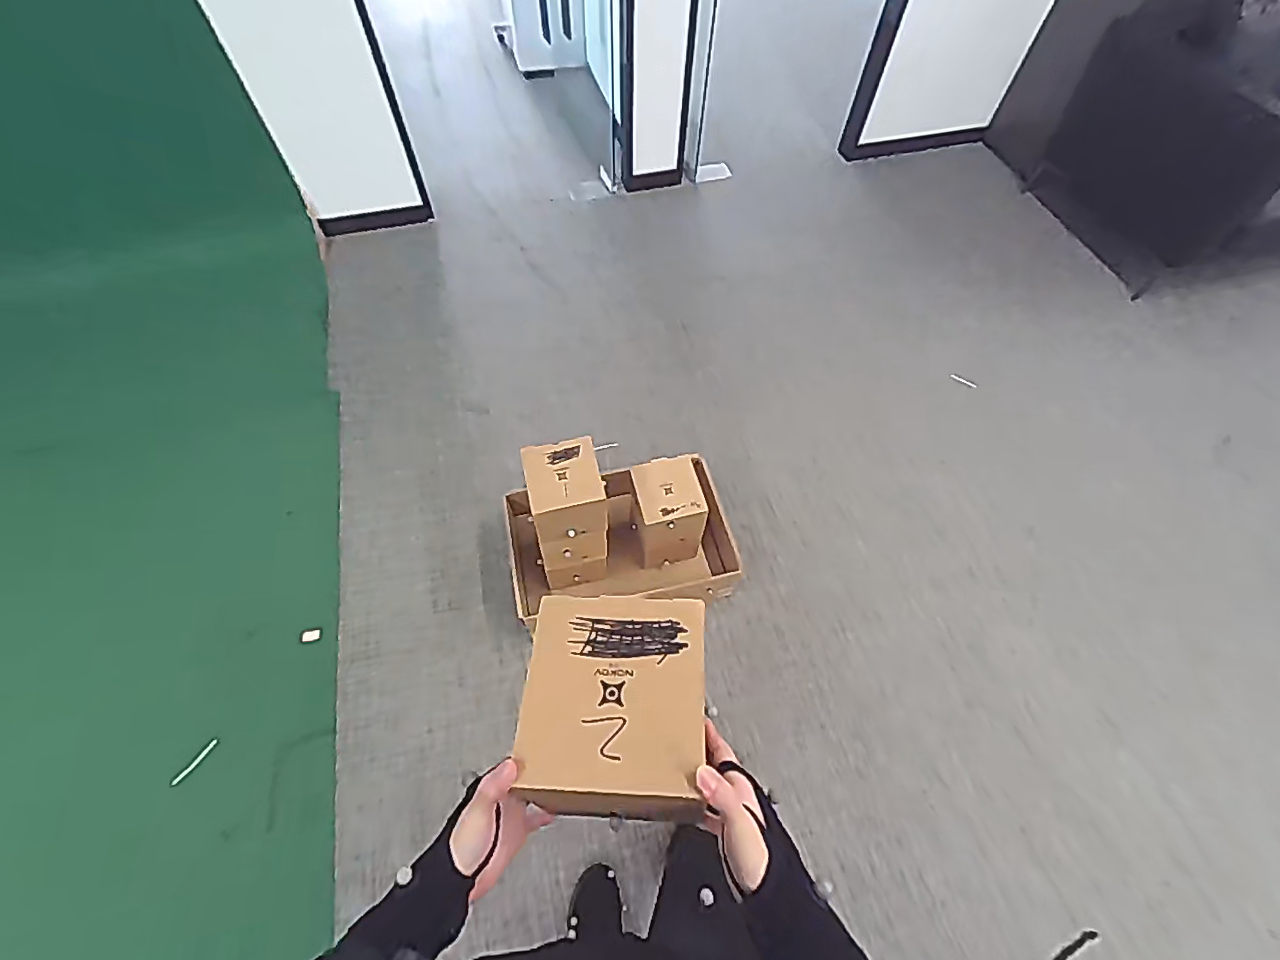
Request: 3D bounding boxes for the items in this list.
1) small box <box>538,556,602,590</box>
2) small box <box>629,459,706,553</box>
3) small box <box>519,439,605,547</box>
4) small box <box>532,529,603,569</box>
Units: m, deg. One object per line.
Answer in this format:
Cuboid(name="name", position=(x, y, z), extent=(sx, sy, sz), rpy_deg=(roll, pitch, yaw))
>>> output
Cuboid(name="small box", position=(-0.203, 0.201, 1.541), extent=(0.168, 0.176, 0.179), rpy_deg=(-10, 60, -9))
Cuboid(name="small box", position=(0.065, 0.070, 1.441), extent=(0.168, 0.176, 0.179), rpy_deg=(-12, 60, -7))
Cuboid(name="small box", position=(-0.181, 0.032, 1.263), extent=(0.168, 0.176, 0.179), rpy_deg=(-11, 61, -9))
Cuboid(name="small box", position=(-0.192, 0.118, 1.404), extent=(0.168, 0.176, 0.179), rpy_deg=(-12, 60, -10))
